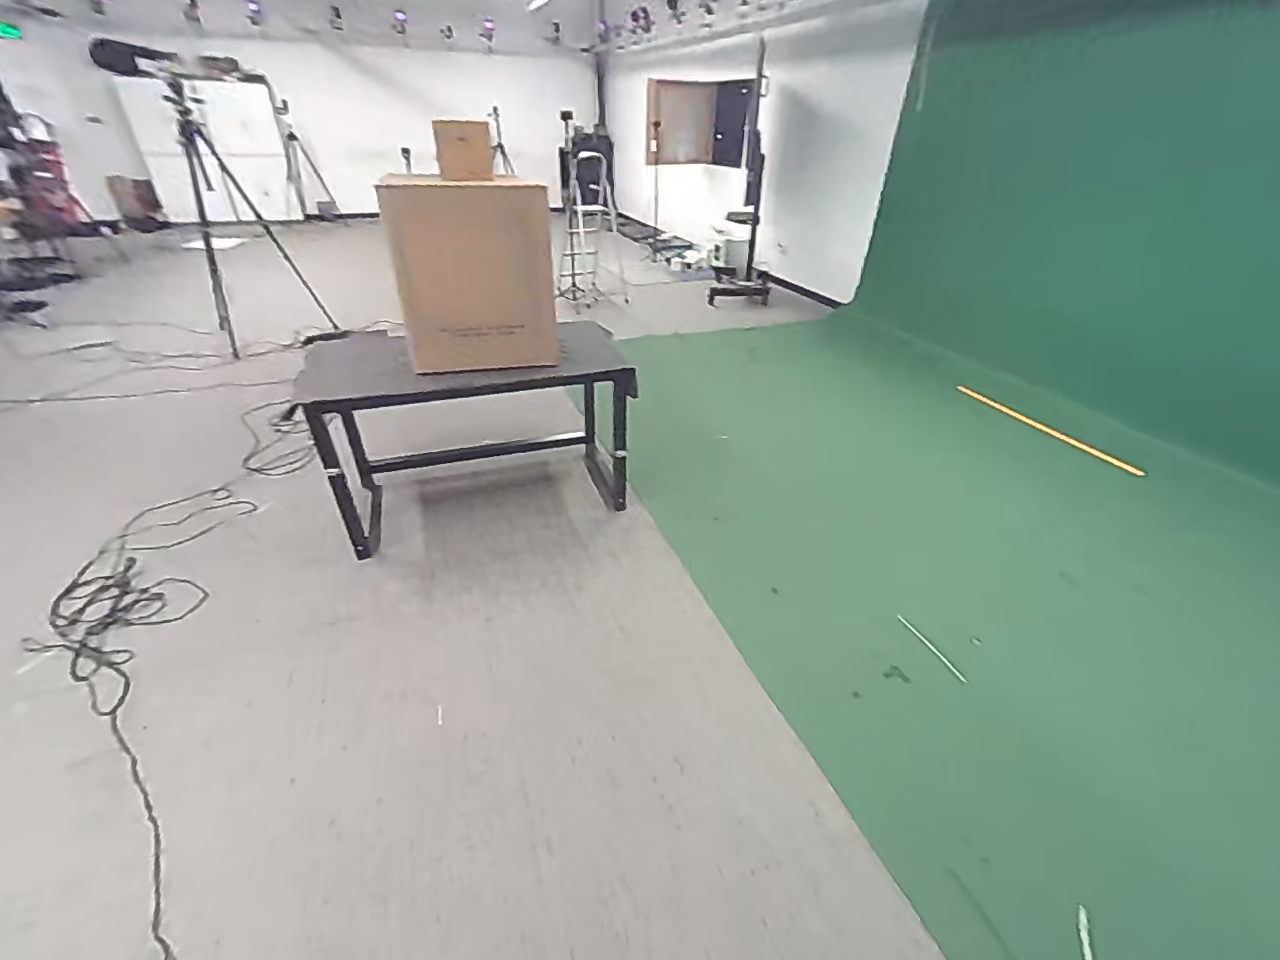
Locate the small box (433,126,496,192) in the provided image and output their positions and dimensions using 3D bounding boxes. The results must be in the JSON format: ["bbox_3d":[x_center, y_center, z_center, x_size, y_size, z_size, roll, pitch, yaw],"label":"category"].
[{"bbox_3d":[-0.572,-1.055,1.778,0.179,0.176,0.168,-7,36,-13],"label":"small box"}]
